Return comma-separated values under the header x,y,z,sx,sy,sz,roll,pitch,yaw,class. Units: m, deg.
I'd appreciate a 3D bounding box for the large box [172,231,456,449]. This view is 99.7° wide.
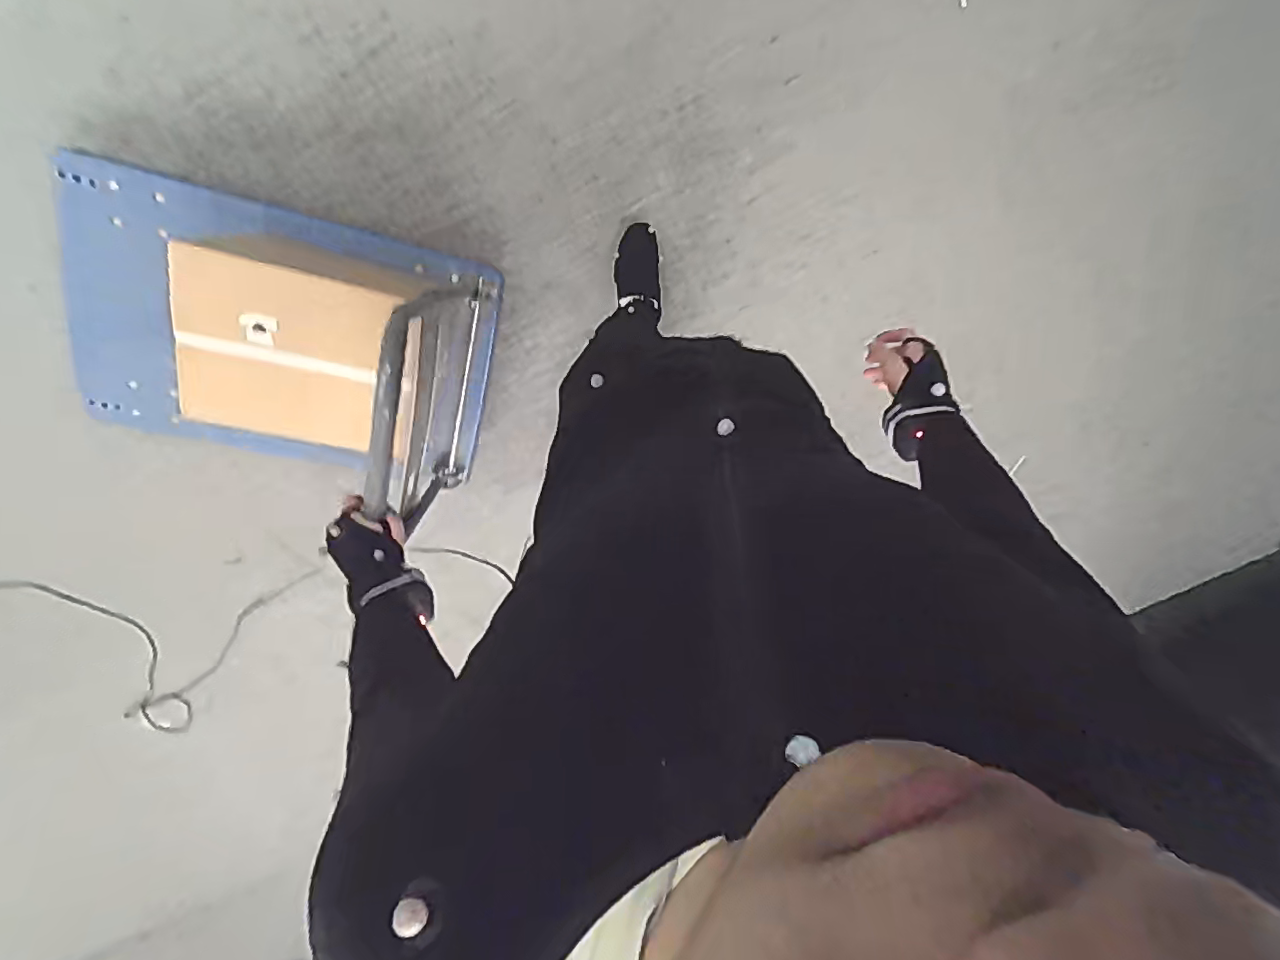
x,y,z,sx,sy,sz,roll,pitch,yaw,class
-0.622,-0.292,1.107,0.408,0.320,0.320,11,113,-13,large box
